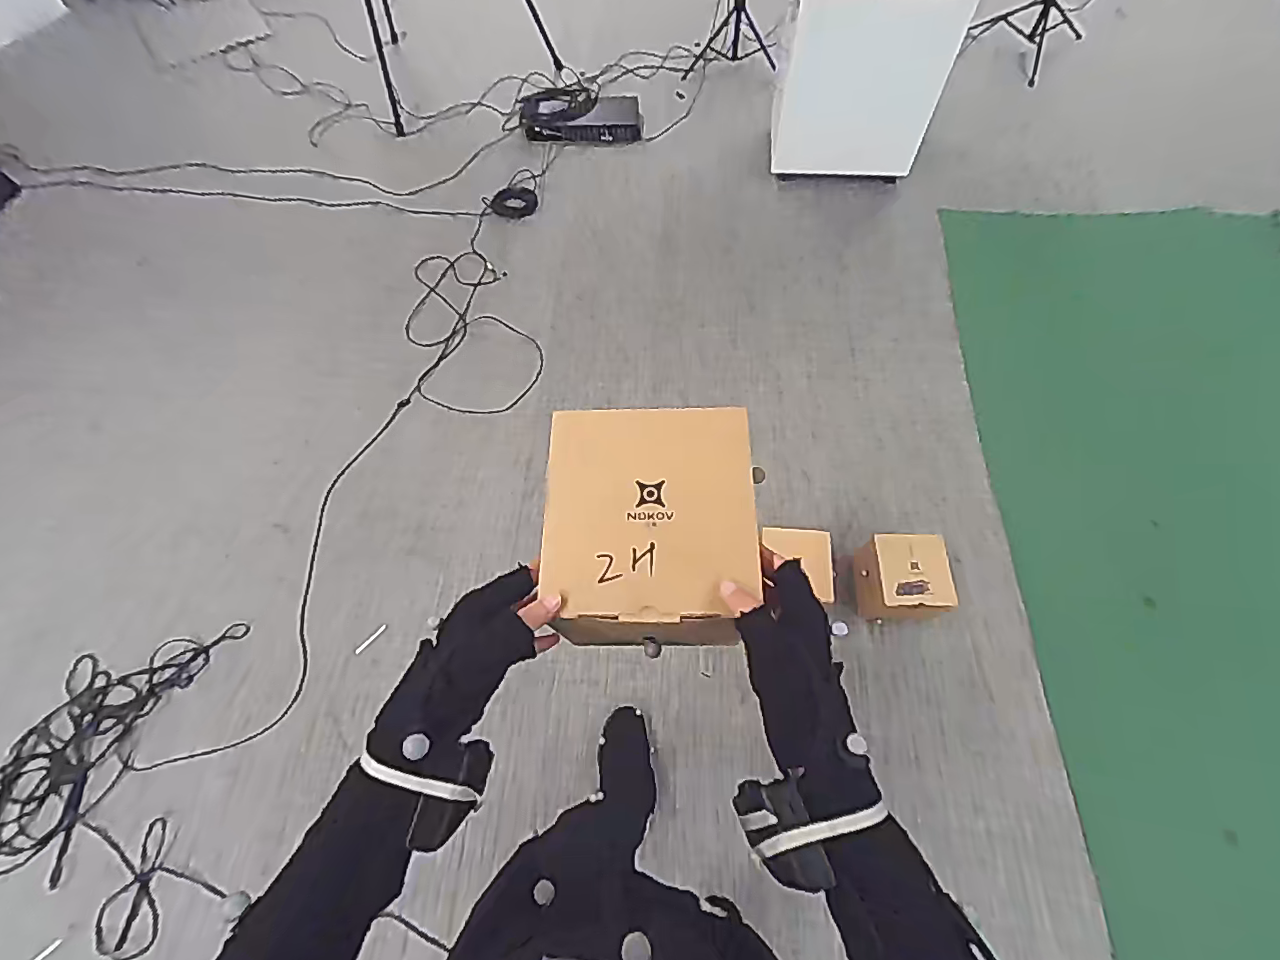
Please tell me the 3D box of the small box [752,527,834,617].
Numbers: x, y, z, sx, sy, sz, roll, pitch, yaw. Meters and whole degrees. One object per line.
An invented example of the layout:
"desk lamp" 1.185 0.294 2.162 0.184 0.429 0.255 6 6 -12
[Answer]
"small box" 0.374 0.232 1.348 0.168 0.176 0.179 4 65 4

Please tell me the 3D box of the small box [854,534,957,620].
"small box" 0.642 0.243 1.328 0.168 0.176 0.179 1 64 3
